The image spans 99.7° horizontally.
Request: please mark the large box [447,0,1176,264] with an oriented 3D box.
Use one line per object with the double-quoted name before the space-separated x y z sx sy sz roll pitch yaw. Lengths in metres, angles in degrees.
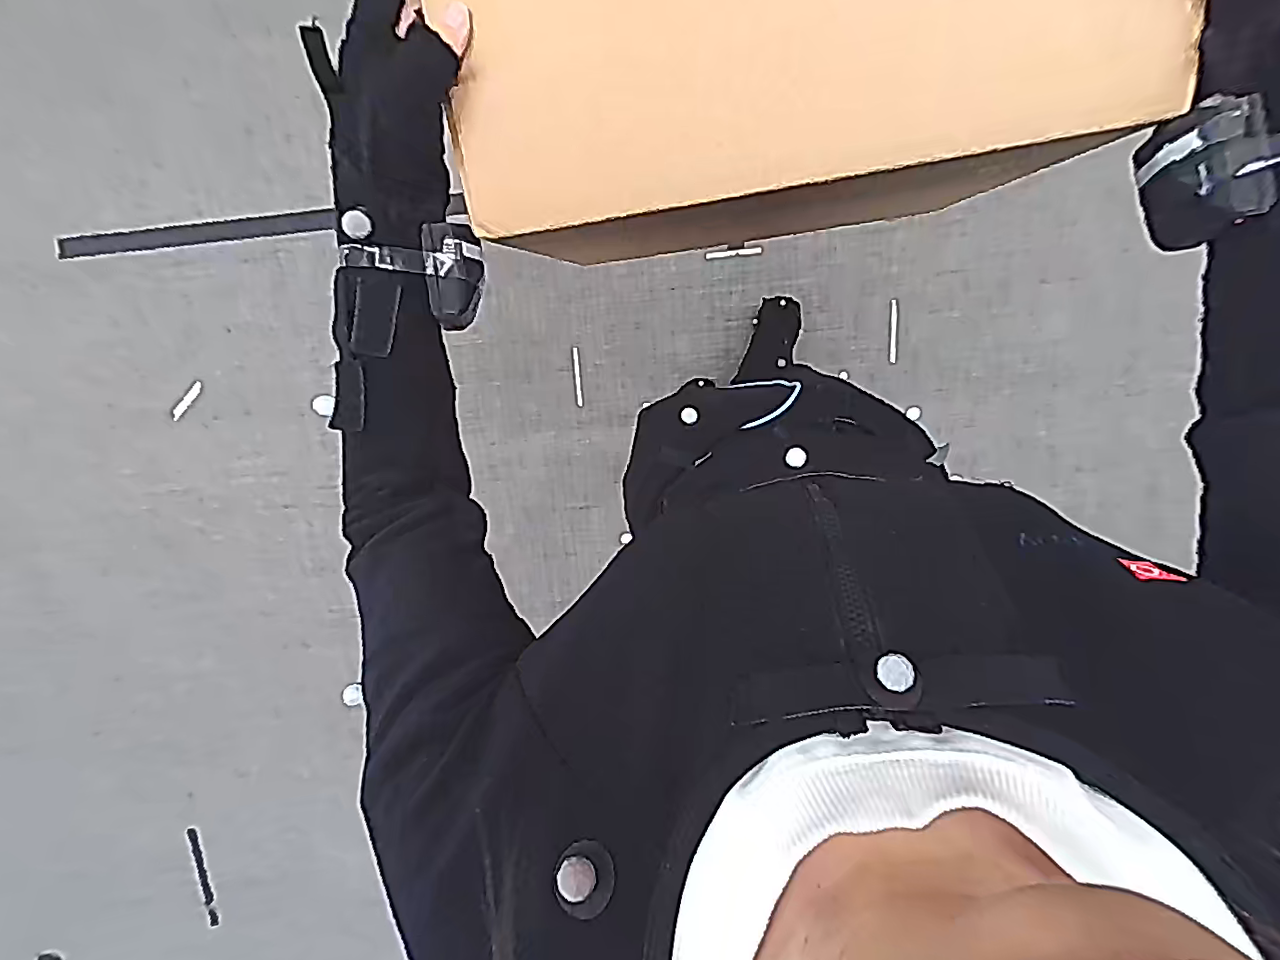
"large box" 0.088 -0.377 0.427 0.408 0.320 0.320 -7 108 8
